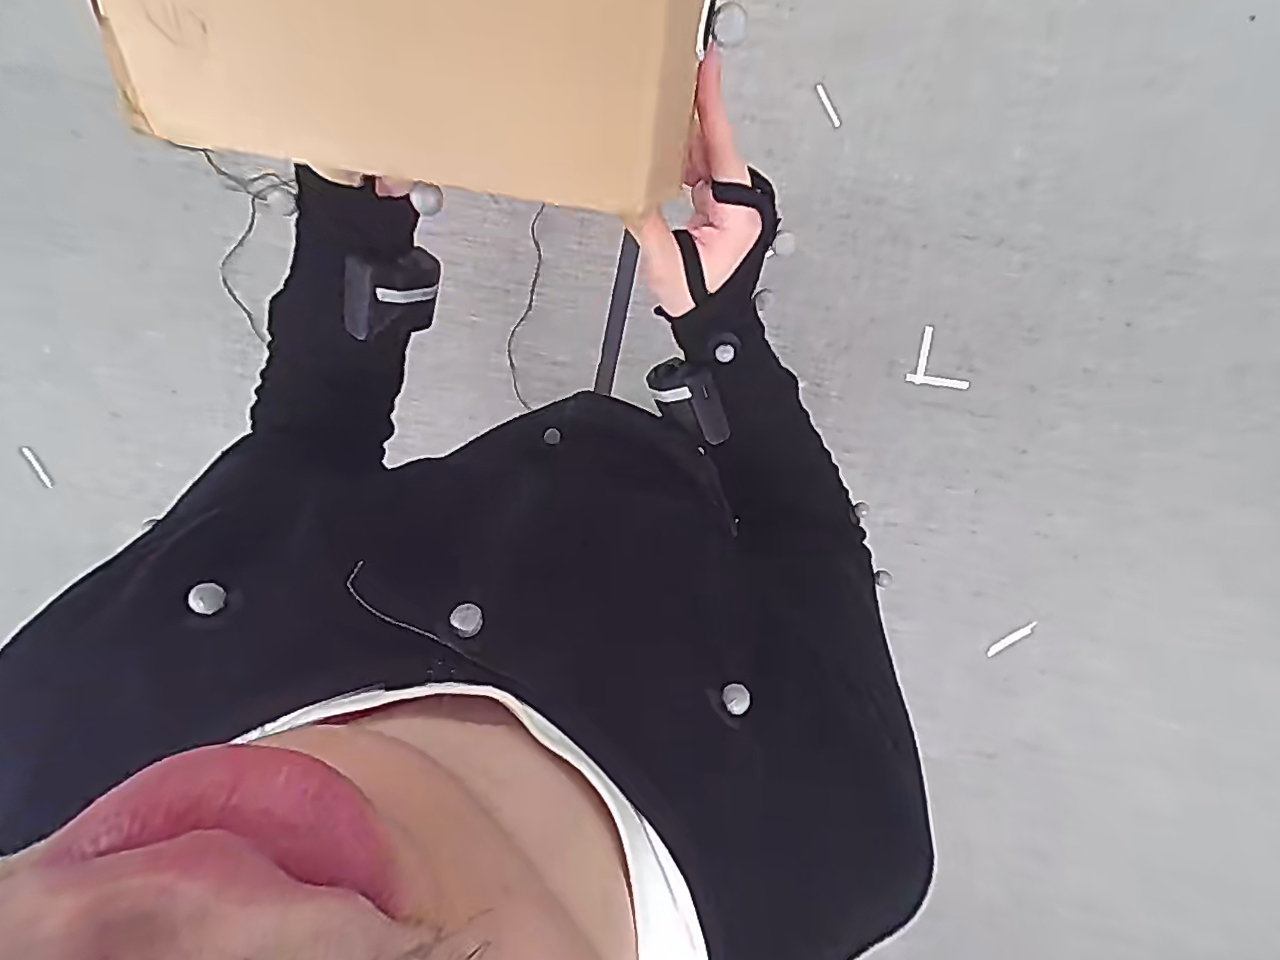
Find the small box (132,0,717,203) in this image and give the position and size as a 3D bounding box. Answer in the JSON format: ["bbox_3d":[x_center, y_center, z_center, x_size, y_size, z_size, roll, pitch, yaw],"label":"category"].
[{"bbox_3d":[-0.059,-0.216,0.212,0.179,0.176,0.168,11,121,3],"label":"small box"}]
